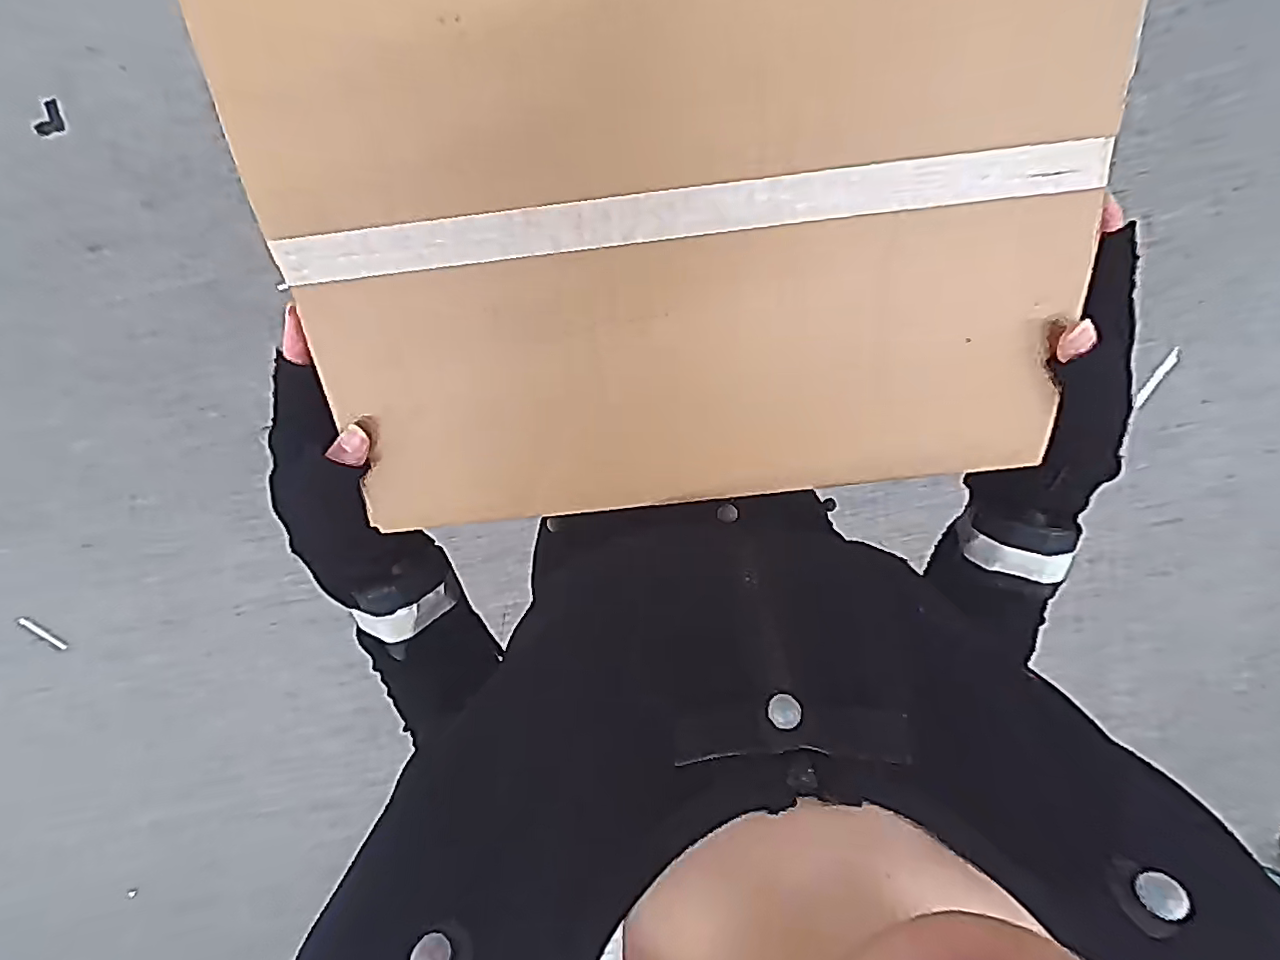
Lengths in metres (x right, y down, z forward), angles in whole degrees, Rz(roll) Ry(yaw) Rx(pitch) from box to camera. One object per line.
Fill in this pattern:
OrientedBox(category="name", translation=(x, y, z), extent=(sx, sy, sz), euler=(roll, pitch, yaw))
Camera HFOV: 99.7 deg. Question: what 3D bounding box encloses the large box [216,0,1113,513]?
OrientedBox(category="large box", translation=(0.017, -0.201, 0.411), extent=(0.408, 0.320, 0.320), euler=(-6, 116, 1))
